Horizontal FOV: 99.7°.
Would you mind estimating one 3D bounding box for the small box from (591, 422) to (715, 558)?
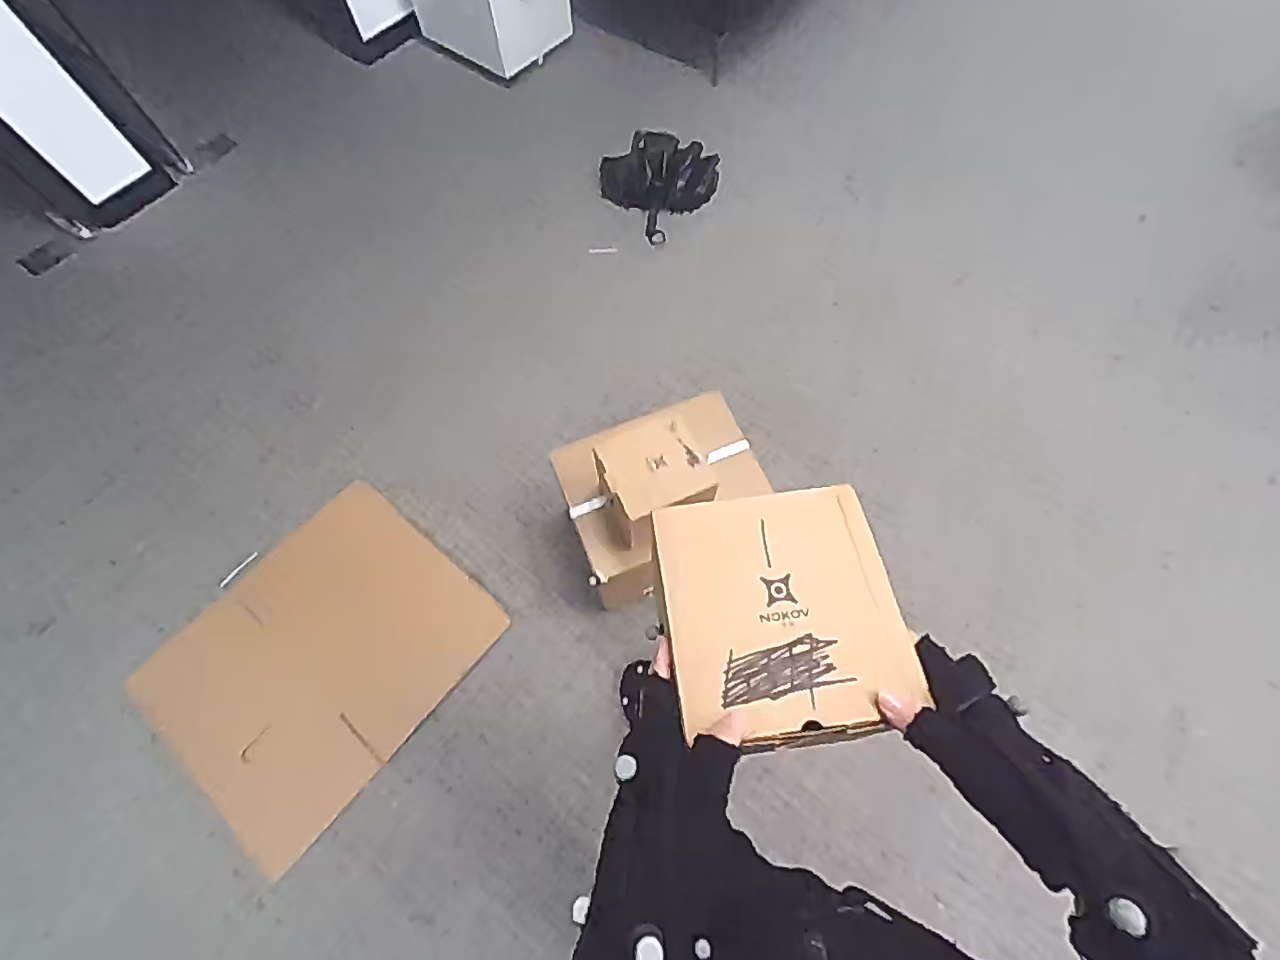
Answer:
[{"bbox_3d":[0.025,0.026,1.041,0.179,0.176,0.168,-26,65,-11],"label":"small box"}]

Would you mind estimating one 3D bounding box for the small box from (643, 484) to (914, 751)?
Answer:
[{"bbox_3d":[0.097,0.127,0.466,0.168,0.176,0.179,-7,59,-2],"label":"small box"}]
